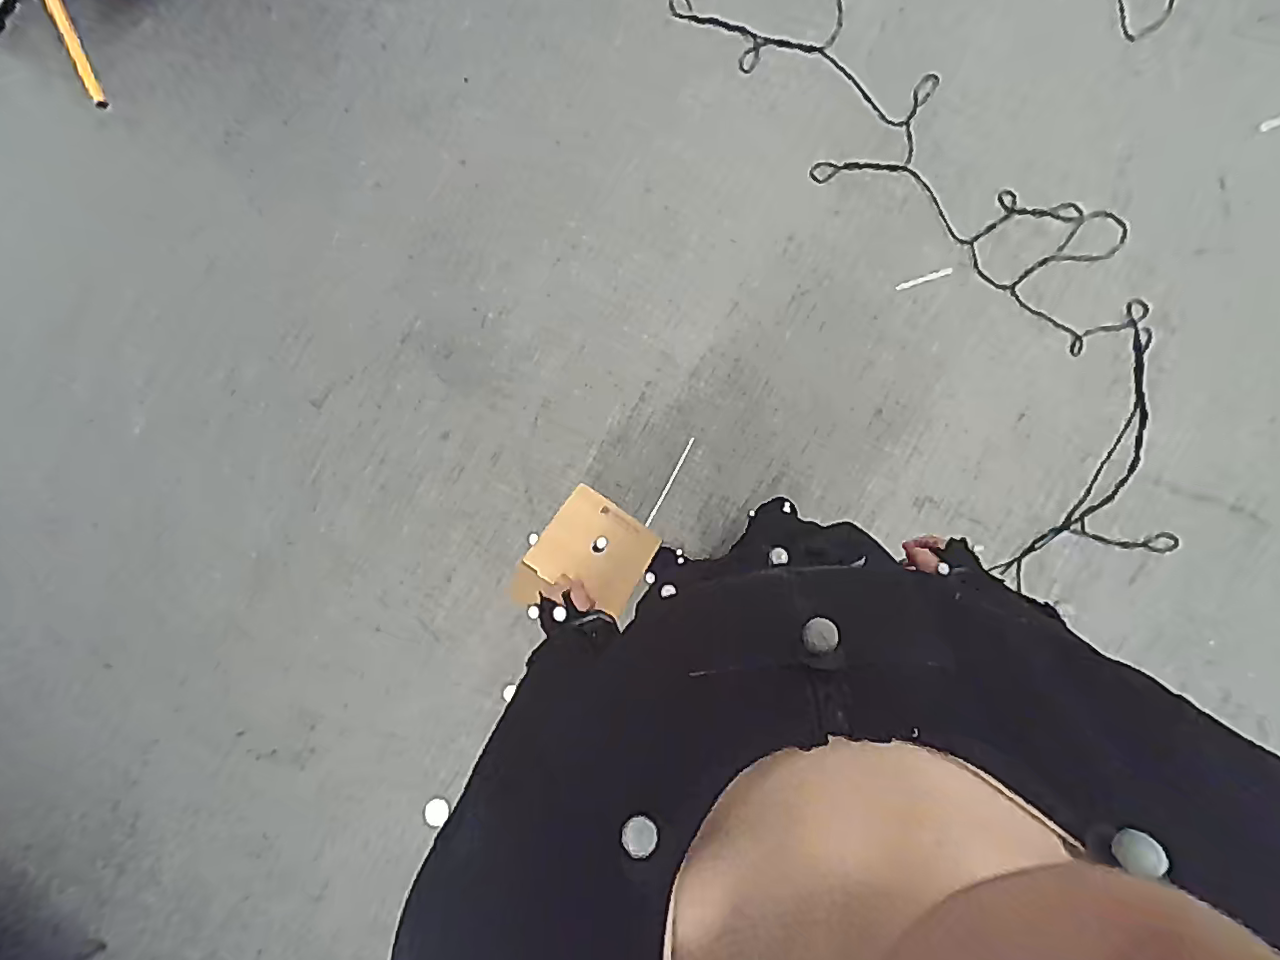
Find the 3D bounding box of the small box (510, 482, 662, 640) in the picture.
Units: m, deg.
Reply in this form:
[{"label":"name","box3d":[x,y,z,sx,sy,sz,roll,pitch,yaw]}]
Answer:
[{"label":"small box","box3d":[-0.085,0.132,0.892,0.168,0.179,0.176,36,55,-2]}]
